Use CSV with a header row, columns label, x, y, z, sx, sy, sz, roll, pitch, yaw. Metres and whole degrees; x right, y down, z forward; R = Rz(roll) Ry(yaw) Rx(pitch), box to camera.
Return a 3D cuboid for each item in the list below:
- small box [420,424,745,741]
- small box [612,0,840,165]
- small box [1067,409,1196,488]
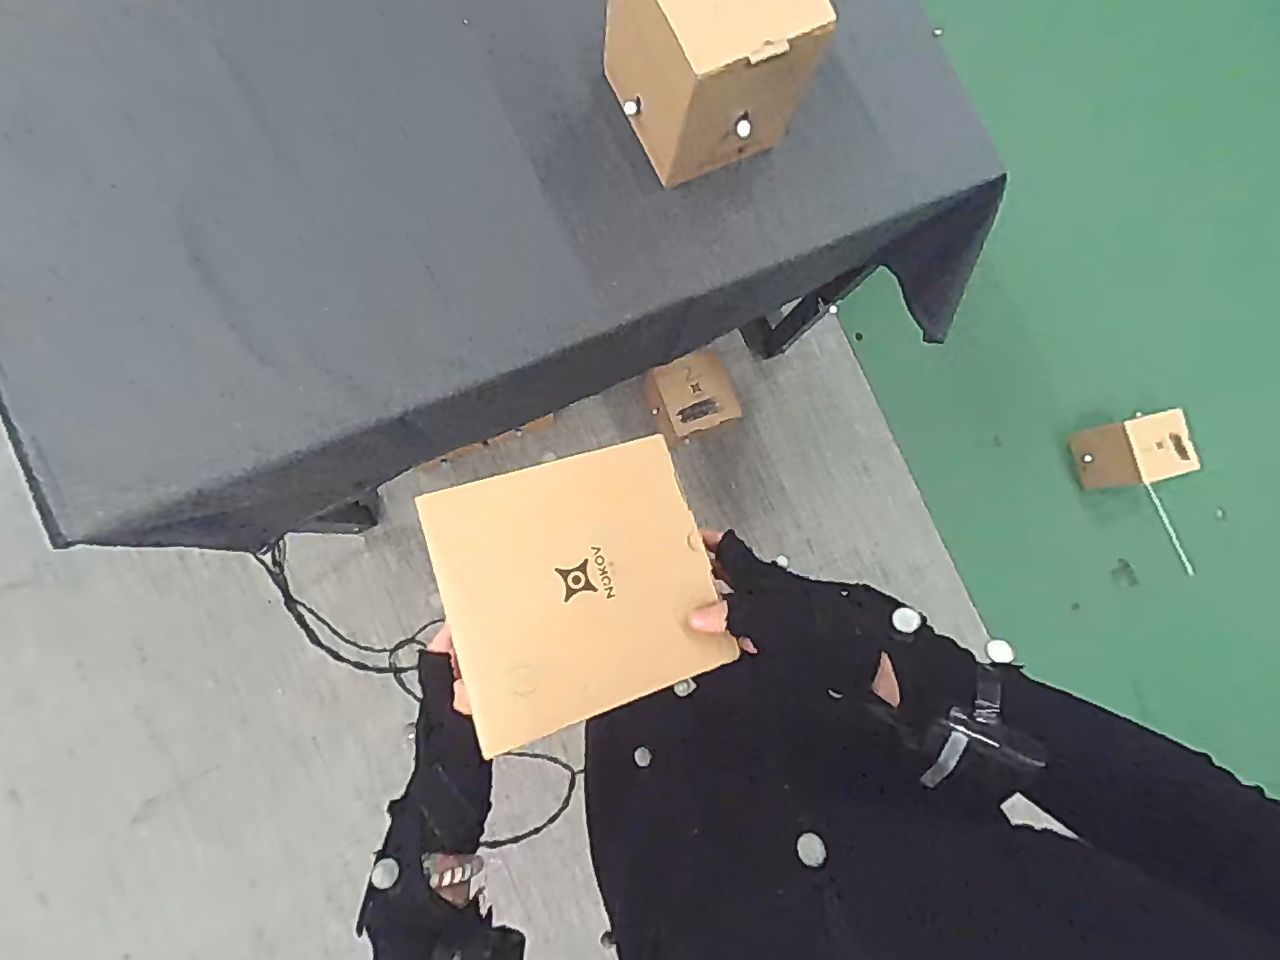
label,x,y,z,sx,sy,sz,roll,pitch,yaw
small box,-0.051,0.078,0.421,0.179,0.176,0.168,-15,78,-18
small box,0.081,-0.490,0.603,0.168,0.176,0.179,-26,88,-10
small box,1.317,-0.080,1.460,0.179,0.176,0.168,-13,85,-8
